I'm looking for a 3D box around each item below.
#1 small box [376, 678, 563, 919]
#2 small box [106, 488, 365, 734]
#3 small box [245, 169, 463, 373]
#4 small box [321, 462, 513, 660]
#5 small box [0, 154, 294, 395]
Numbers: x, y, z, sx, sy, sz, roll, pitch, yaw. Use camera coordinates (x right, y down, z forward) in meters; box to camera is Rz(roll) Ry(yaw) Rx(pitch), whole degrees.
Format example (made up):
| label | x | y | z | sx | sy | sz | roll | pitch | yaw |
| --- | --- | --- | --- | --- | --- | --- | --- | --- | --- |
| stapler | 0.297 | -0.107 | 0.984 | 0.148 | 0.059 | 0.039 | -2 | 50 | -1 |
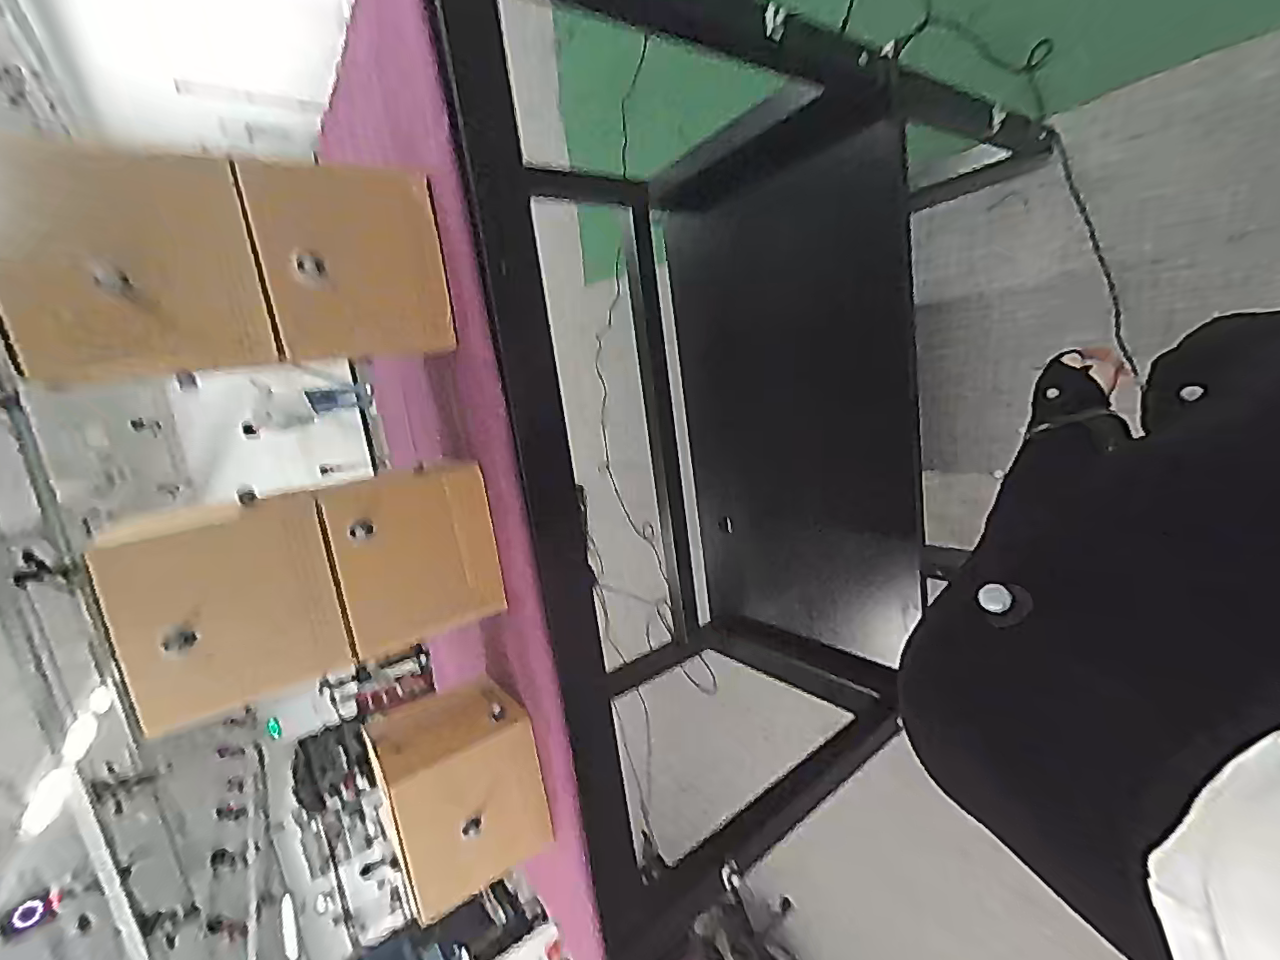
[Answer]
| label | x | y | z | sx | sy | sz | roll | pitch | yaw |
| --- | --- | --- | --- | --- | --- | --- | --- | --- | --- |
| small box | -0.218 | 0.385 | 0.697 | 0.168 | 0.176 | 0.179 | 2 | 105 | 56 |
| small box | -0.401 | 0.117 | 0.564 | 0.168 | 0.176 | 0.179 | 7 | 107 | 55 |
| small box | -0.307 | -0.217 | 0.593 | 0.168 | 0.176 | 0.179 | 12 | 113 | 53 |
| small box | -0.266 | 0.082 | 0.653 | 0.168 | 0.176 | 0.179 | 5 | 106 | 55 |
| small box | -0.440 | -0.181 | 0.503 | 0.168 | 0.176 | 0.179 | 10 | 112 | 53 |
